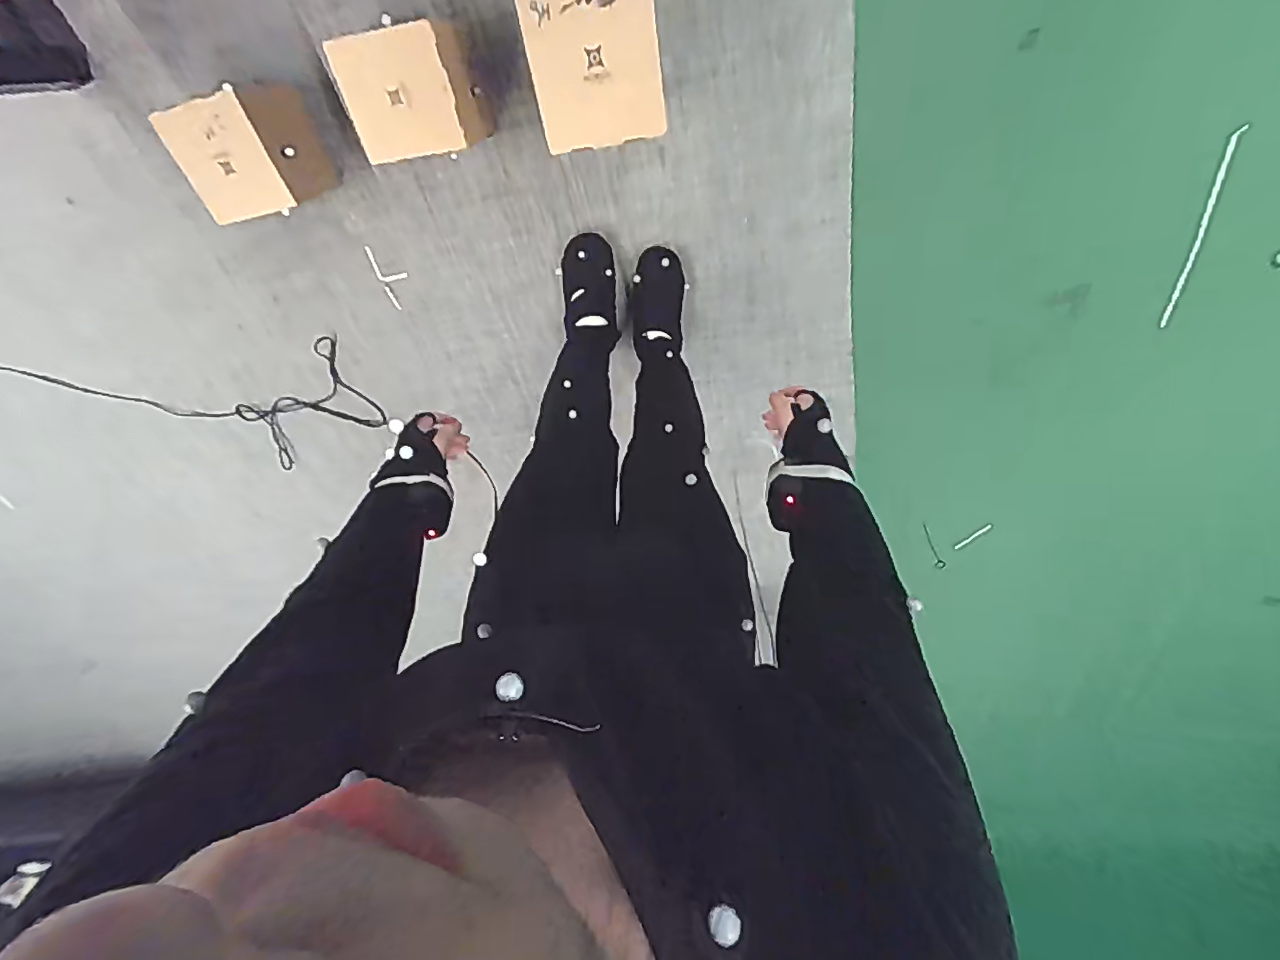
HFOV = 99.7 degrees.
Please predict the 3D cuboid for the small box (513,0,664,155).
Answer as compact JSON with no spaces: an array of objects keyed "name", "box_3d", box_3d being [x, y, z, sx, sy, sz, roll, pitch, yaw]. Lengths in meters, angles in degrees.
[{"name":"small box","box_3d":[-0.056,-0.572,0.742,0.168,0.176,0.179,-5,130,7]}]
